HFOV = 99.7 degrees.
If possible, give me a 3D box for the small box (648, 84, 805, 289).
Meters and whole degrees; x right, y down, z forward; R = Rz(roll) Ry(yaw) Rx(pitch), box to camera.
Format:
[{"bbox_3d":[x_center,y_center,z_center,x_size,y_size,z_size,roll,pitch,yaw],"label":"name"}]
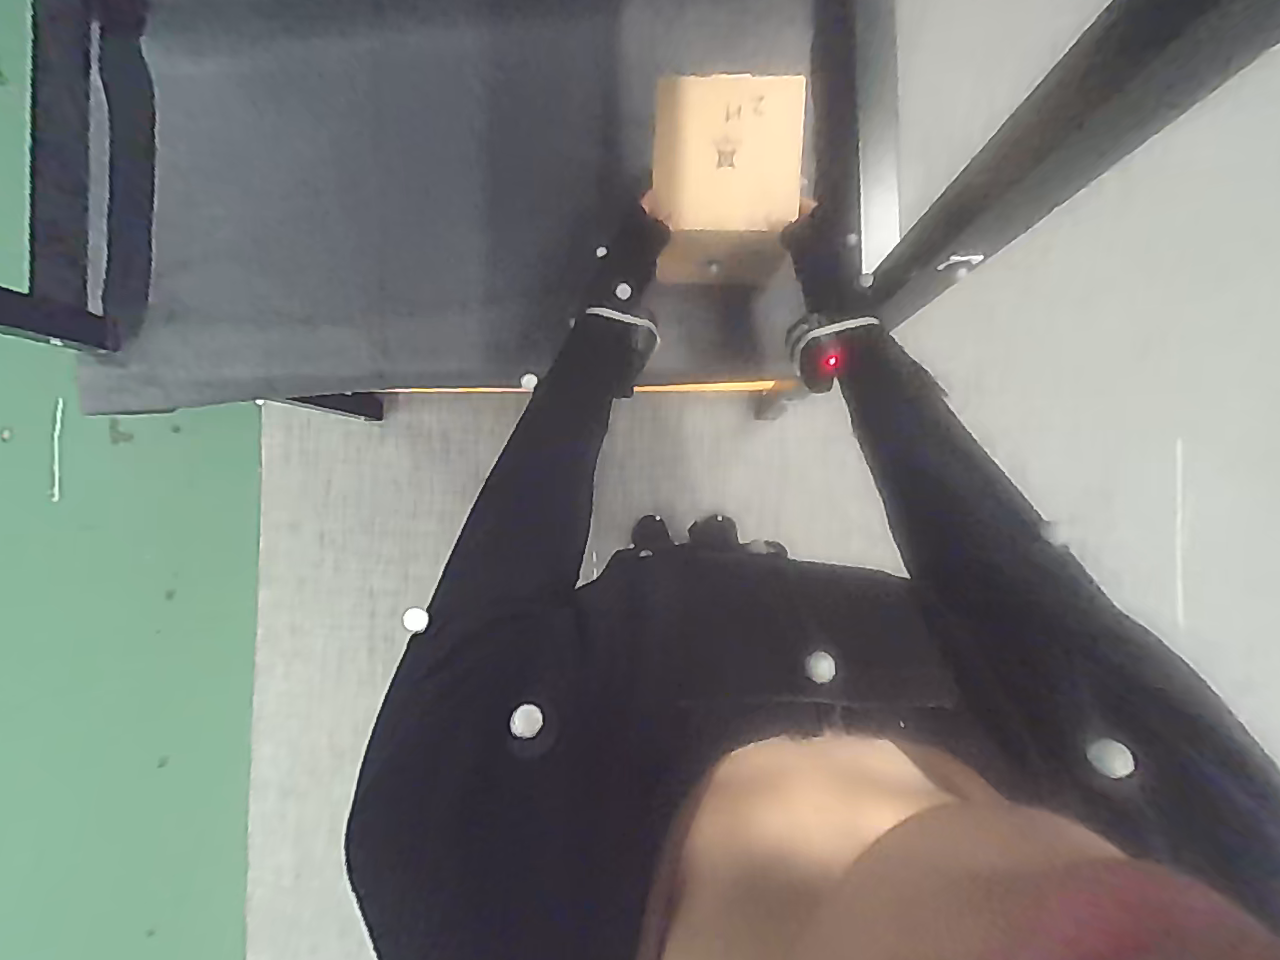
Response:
[{"bbox_3d":[0.104,-0.357,0.686,0.168,0.176,0.179,4,89,4],"label":"small box"}]
